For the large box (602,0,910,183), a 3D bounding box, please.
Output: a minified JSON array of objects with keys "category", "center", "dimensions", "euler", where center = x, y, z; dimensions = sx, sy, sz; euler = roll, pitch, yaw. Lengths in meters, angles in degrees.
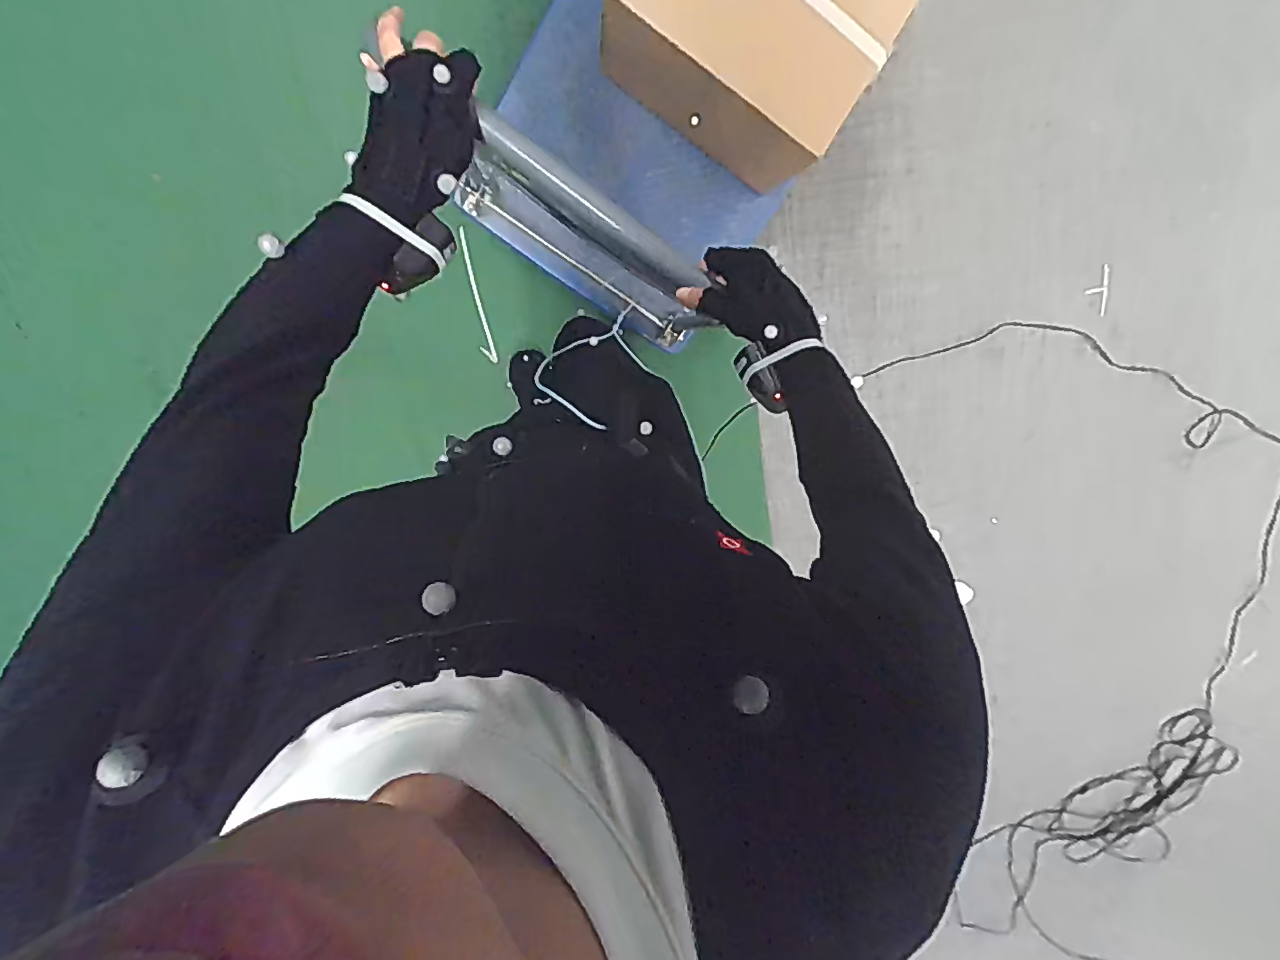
[{"category":"large box","center":[0.183,-0.787,0.921],"dimensions":[0.408,0.320,0.320],"euler":[30,103,-13]}]
